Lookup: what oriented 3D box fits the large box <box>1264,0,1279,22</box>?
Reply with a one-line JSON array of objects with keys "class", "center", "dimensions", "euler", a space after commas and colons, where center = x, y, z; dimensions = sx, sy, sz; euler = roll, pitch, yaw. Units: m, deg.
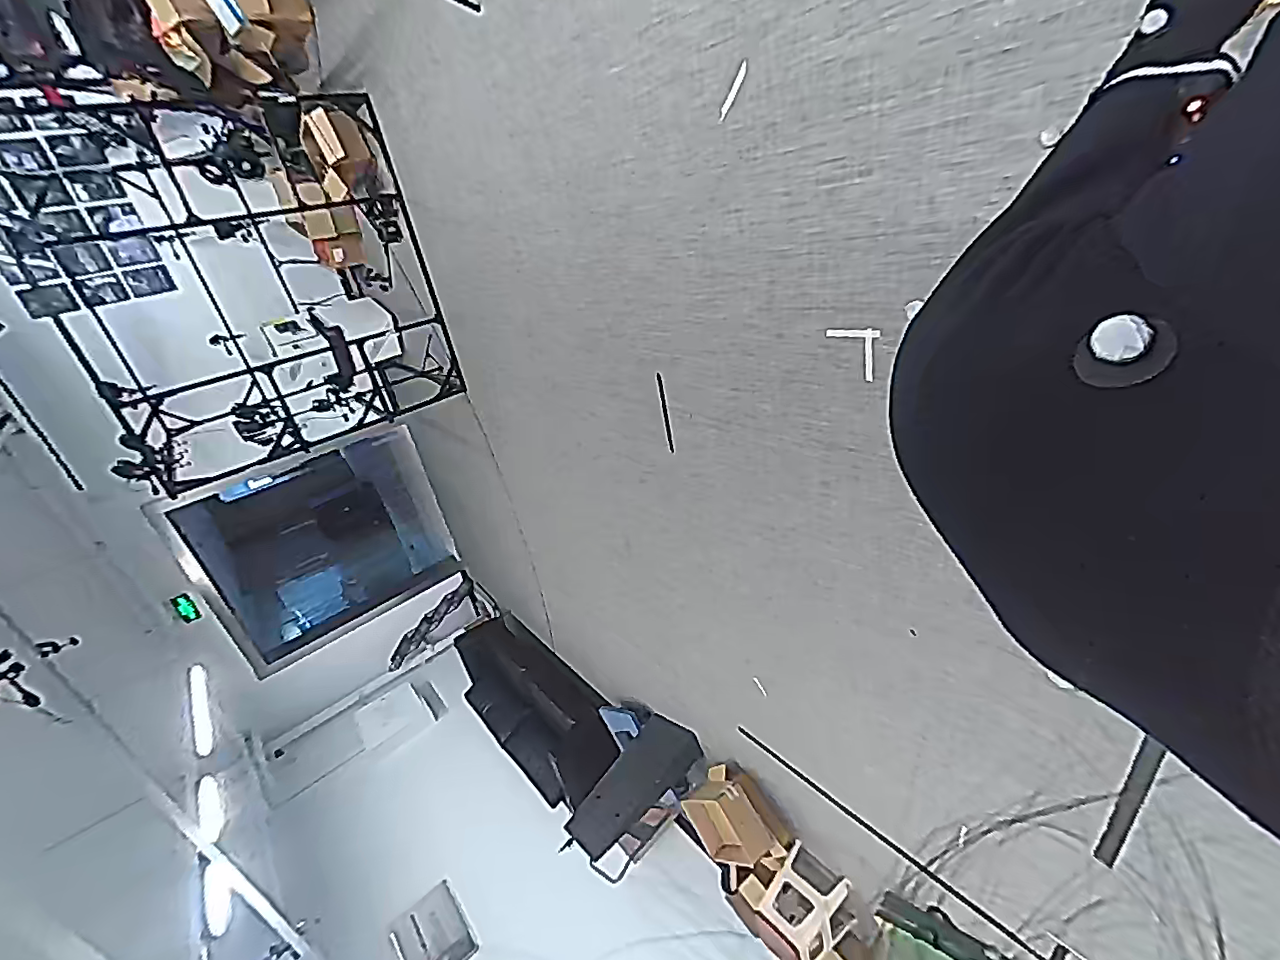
[{"class": "large box", "center": [1.004, -0.749, 0.565], "dimensions": [0.408, 0.320, 0.320], "euler": [19, 128, 47]}]
